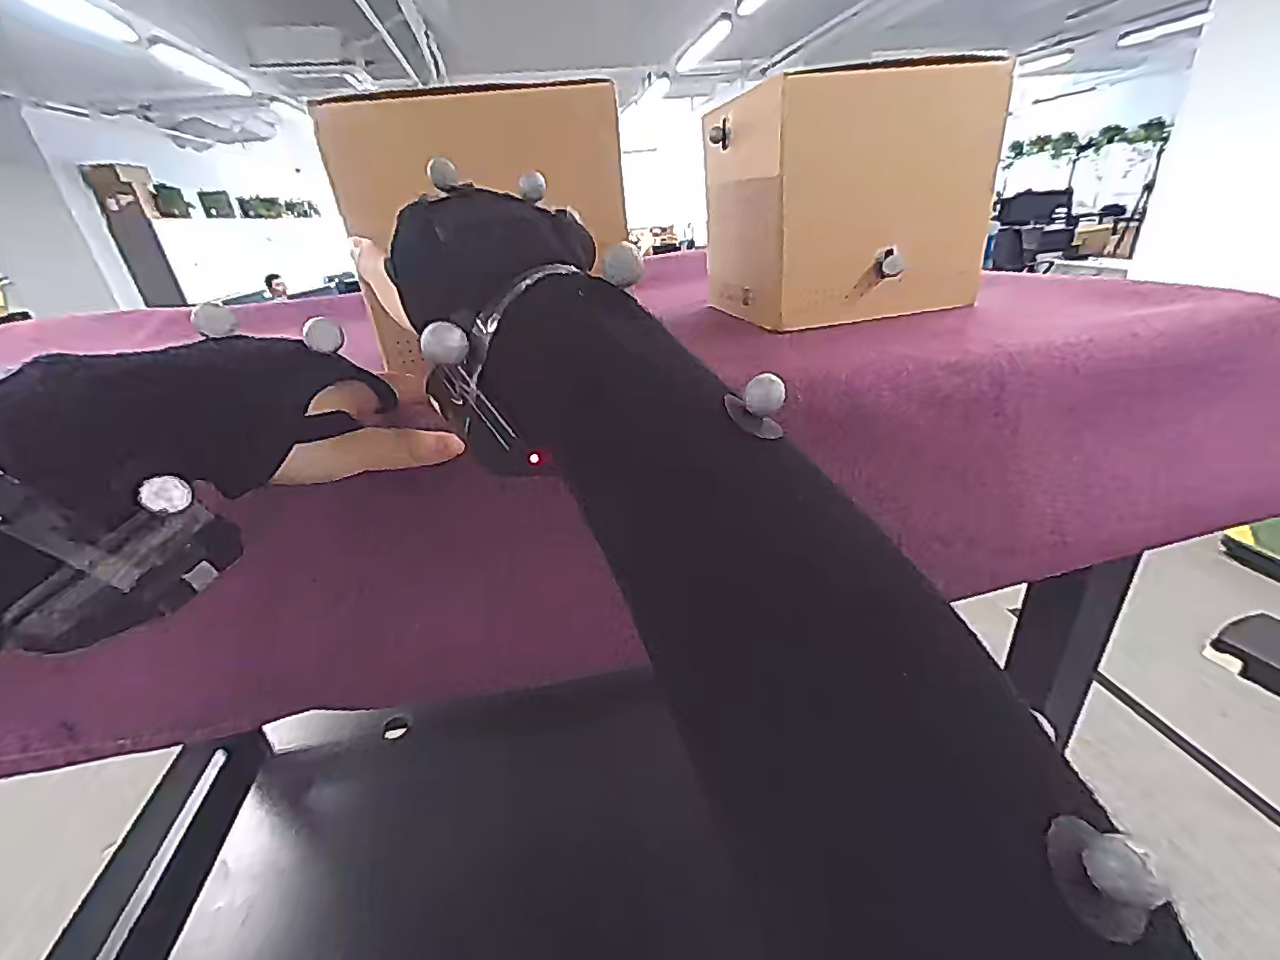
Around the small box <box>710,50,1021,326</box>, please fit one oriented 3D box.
[{"bbox_3d":[0.166,-0.236,0.459,0.179,0.176,0.168,-10,26,-9],"label":"small box"}]

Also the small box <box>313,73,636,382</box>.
[{"bbox_3d":[-0.100,-0.183,0.411,0.179,0.176,0.168,-9,25,-5],"label":"small box"}]
